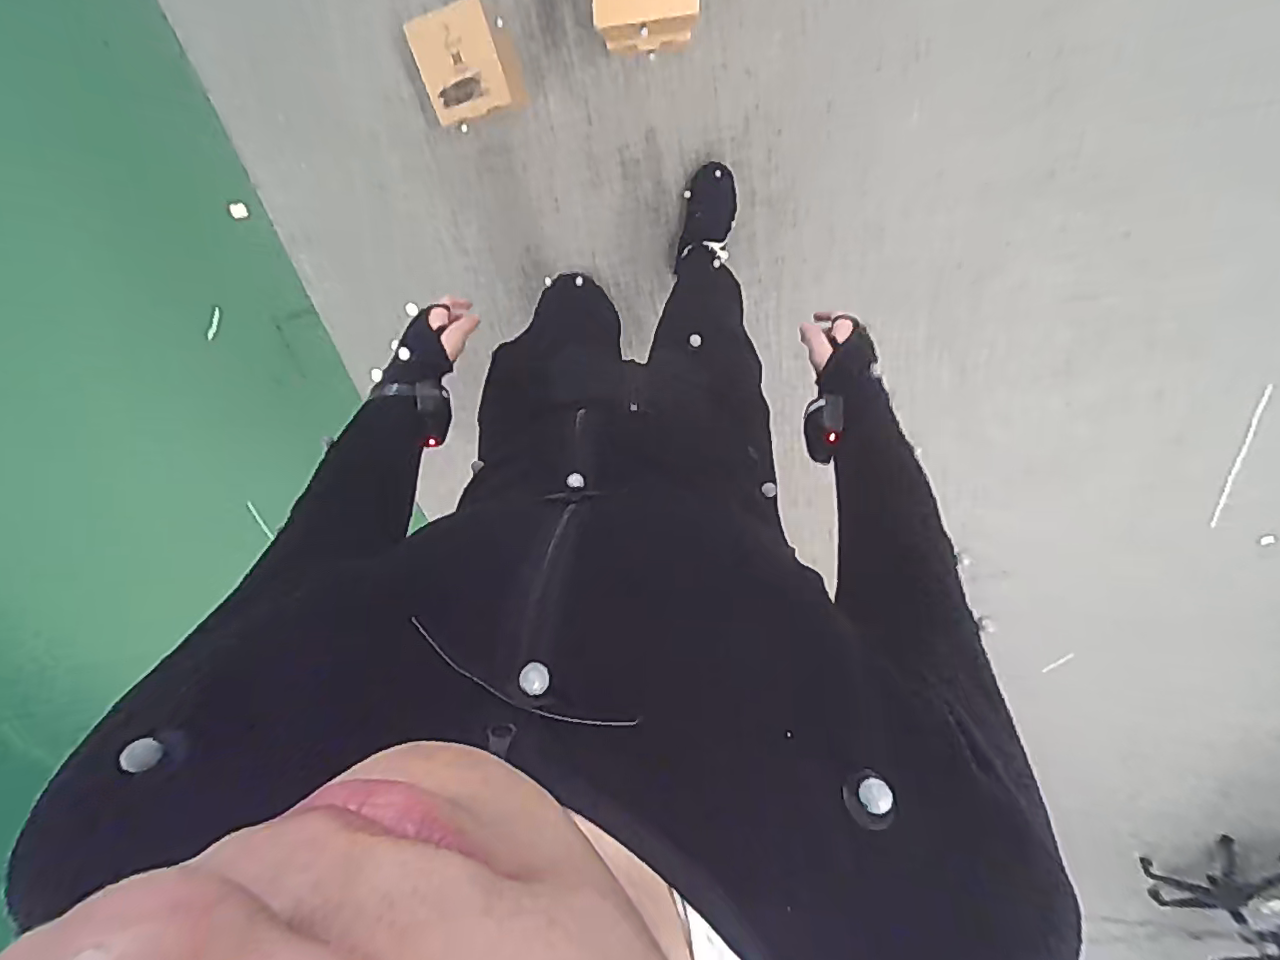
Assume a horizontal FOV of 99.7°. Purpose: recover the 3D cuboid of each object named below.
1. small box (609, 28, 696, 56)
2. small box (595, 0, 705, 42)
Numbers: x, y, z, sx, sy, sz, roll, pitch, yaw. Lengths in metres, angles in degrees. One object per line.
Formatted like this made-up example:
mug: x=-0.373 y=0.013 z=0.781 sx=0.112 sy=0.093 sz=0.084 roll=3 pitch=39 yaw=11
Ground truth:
small box: x=0.024 y=-0.938 z=1.045 sx=0.168 sy=0.176 sz=0.179 roll=-1 pitch=124 yaw=7
small box: x=0.017 y=-0.856 z=0.905 sx=0.179 sy=0.176 sz=0.168 roll=-2 pitch=123 yaw=9
